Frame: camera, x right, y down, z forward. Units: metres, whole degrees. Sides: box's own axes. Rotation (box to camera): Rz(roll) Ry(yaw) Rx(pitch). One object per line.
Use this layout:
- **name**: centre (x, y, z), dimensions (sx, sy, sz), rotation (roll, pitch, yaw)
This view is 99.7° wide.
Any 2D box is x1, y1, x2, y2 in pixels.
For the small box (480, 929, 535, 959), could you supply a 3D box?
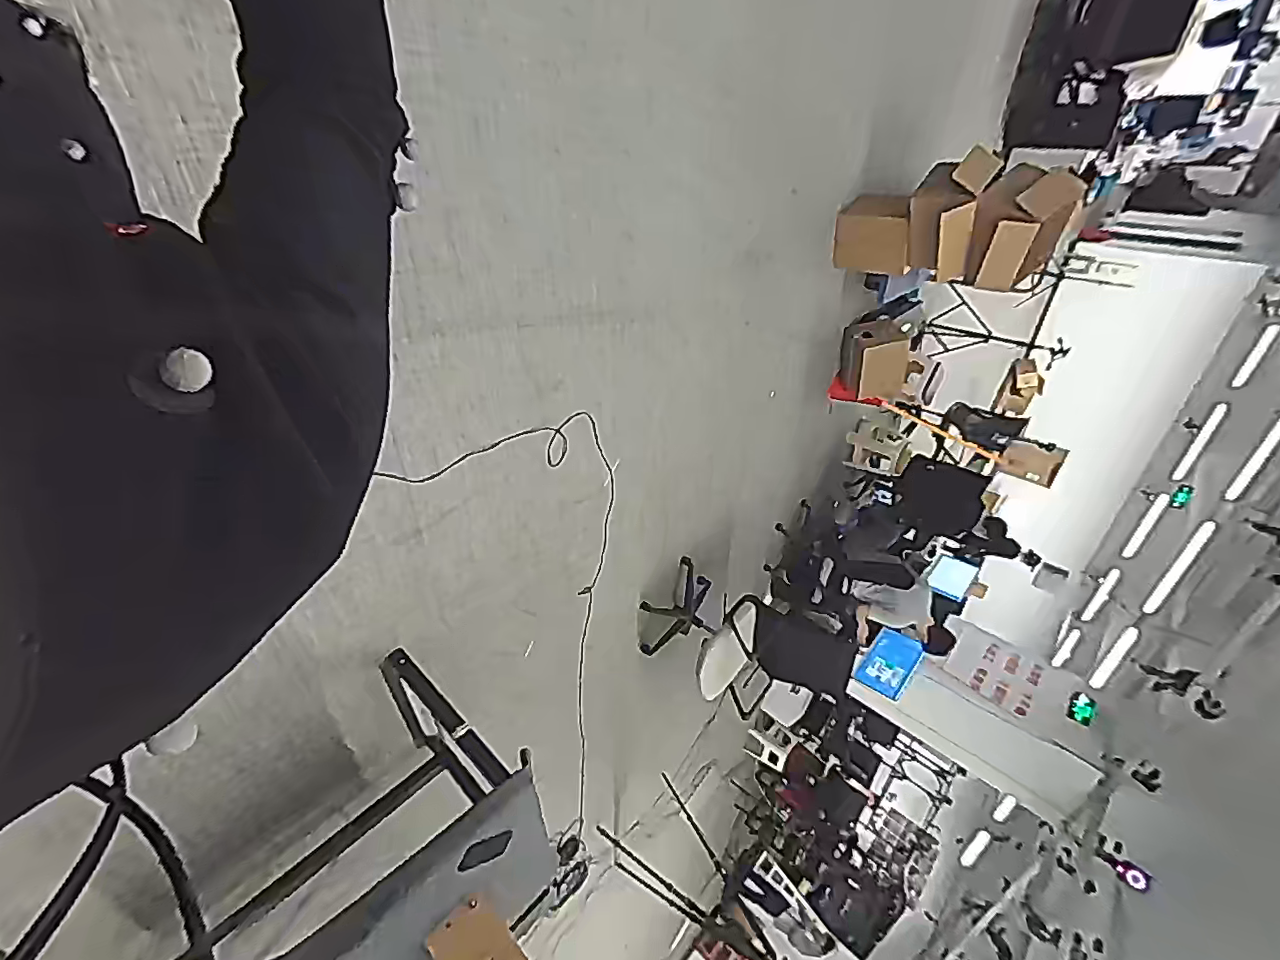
- **small box**: centre (-0.326, 1.281, 1.349), dimensions (0.168, 0.176, 0.179), rotation (-36, 136, -35)

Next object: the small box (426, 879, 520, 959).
- **small box**: centre (-0.443, 1.217, 1.442), dimensions (0.168, 0.176, 0.179), rotation (-34, 138, -35)
